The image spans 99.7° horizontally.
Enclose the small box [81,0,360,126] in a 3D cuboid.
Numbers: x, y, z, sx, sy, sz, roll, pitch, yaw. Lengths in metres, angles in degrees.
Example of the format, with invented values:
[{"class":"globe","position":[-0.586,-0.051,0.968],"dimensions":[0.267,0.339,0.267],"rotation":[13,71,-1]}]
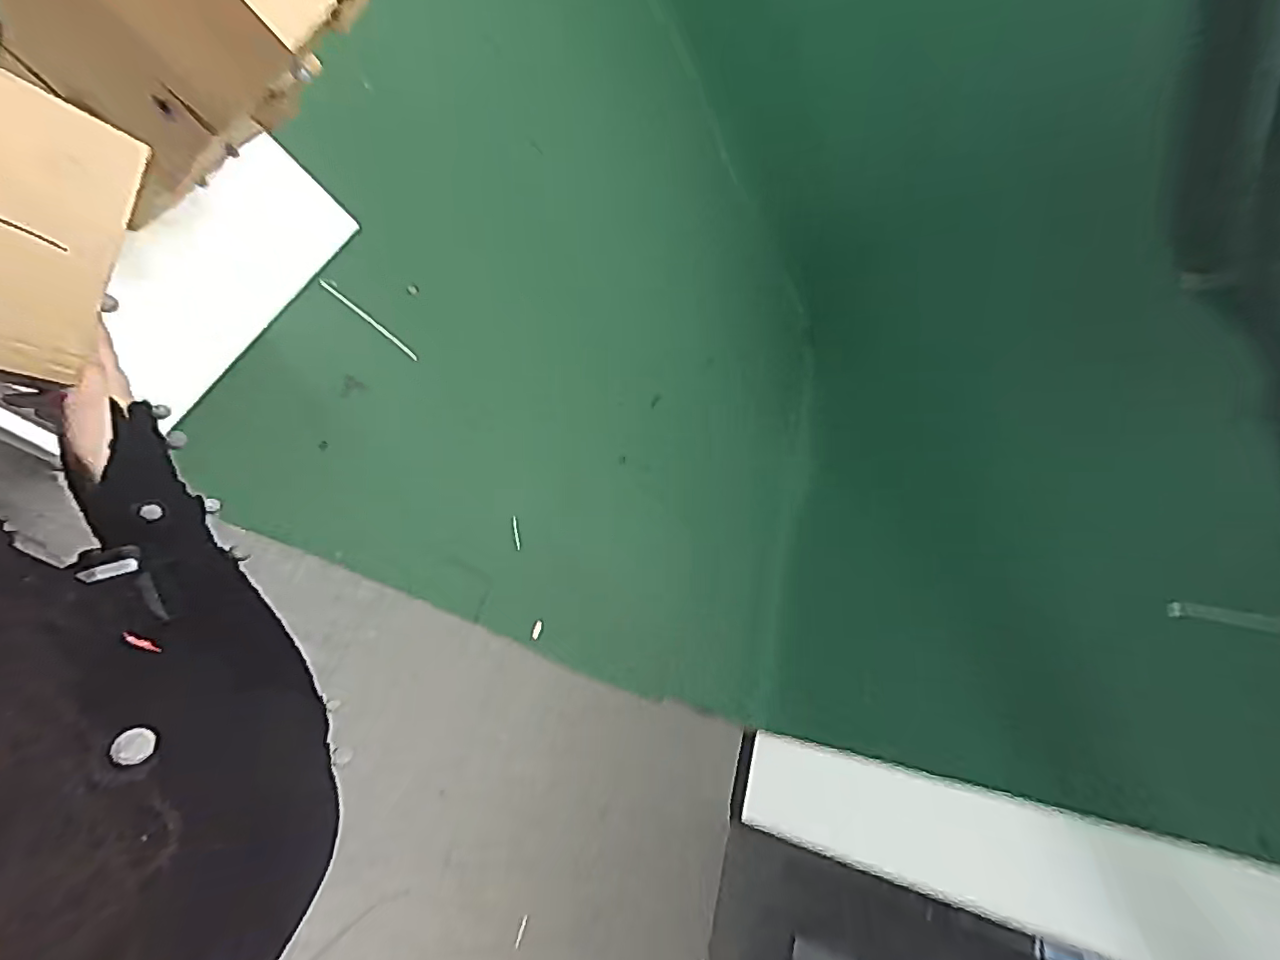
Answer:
[{"class":"small box","position":[-0.357,-0.447,0.447],"dimensions":[0.179,0.176,0.168],"rotation":[44,57,-43]}]

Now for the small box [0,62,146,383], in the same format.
[{"class":"small box","position":[-0.440,-0.158,0.317],"dimensions":[0.179,0.176,0.168],"rotation":[16,82,-52]}]

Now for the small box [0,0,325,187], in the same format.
[{"class":"small box","position":[-0.482,-0.445,0.553],"dimensions":[0.179,0.176,0.168],"rotation":[51,50,-39]}]

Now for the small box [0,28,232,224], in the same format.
[{"class":"small box","position":[-0.611,-0.445,0.652],"dimensions":[0.168,0.176,0.179],"rotation":[49,53,-40]}]
